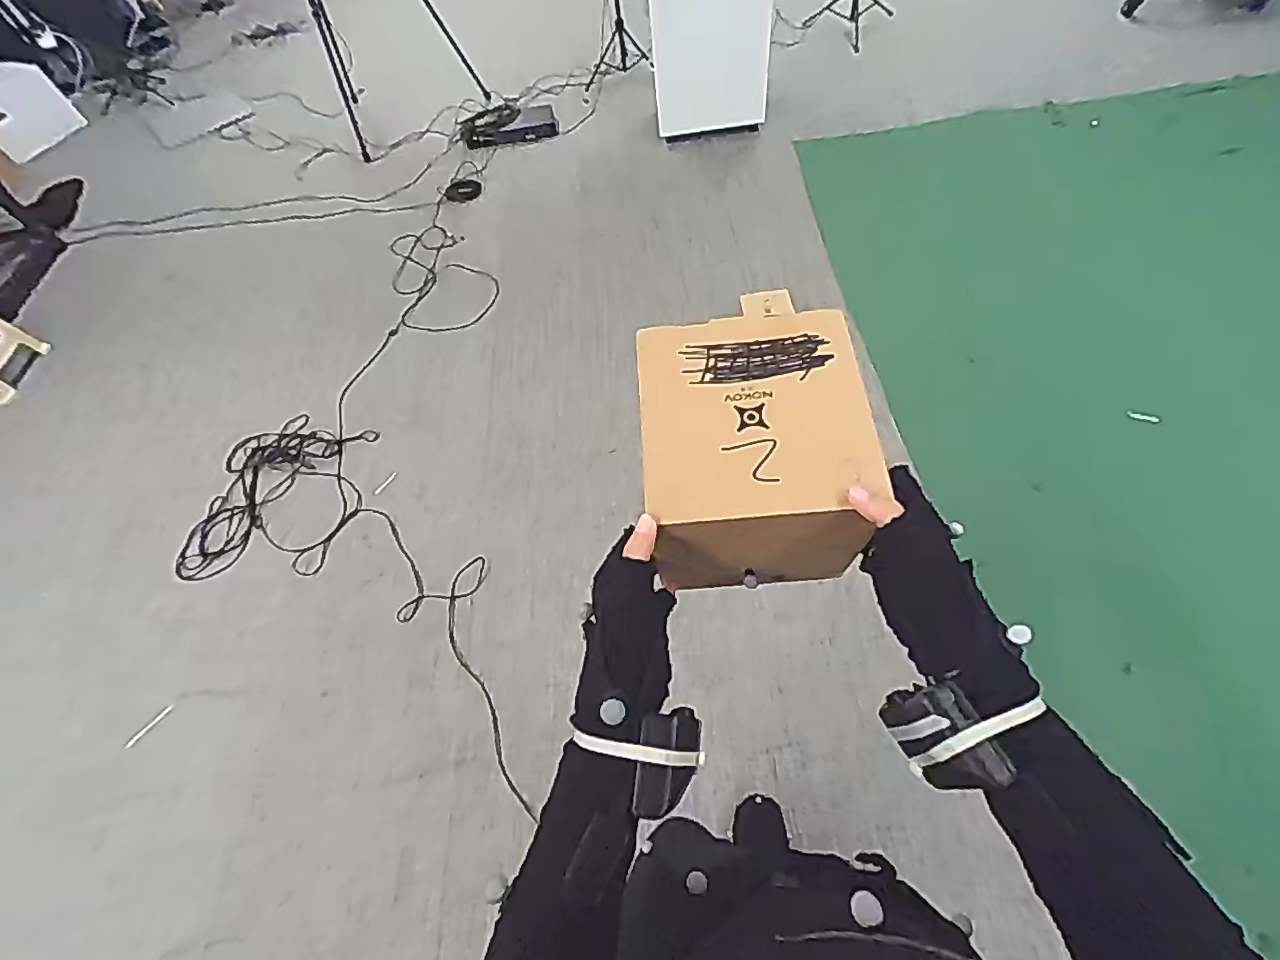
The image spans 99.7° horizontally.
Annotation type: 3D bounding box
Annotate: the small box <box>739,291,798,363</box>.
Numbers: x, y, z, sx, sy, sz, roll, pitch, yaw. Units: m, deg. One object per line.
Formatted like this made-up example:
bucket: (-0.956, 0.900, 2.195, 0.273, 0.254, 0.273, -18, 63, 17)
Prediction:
small box: (0.436, -0.518, 1.860, 0.168, 0.176, 0.179, -6, 58, 4)
